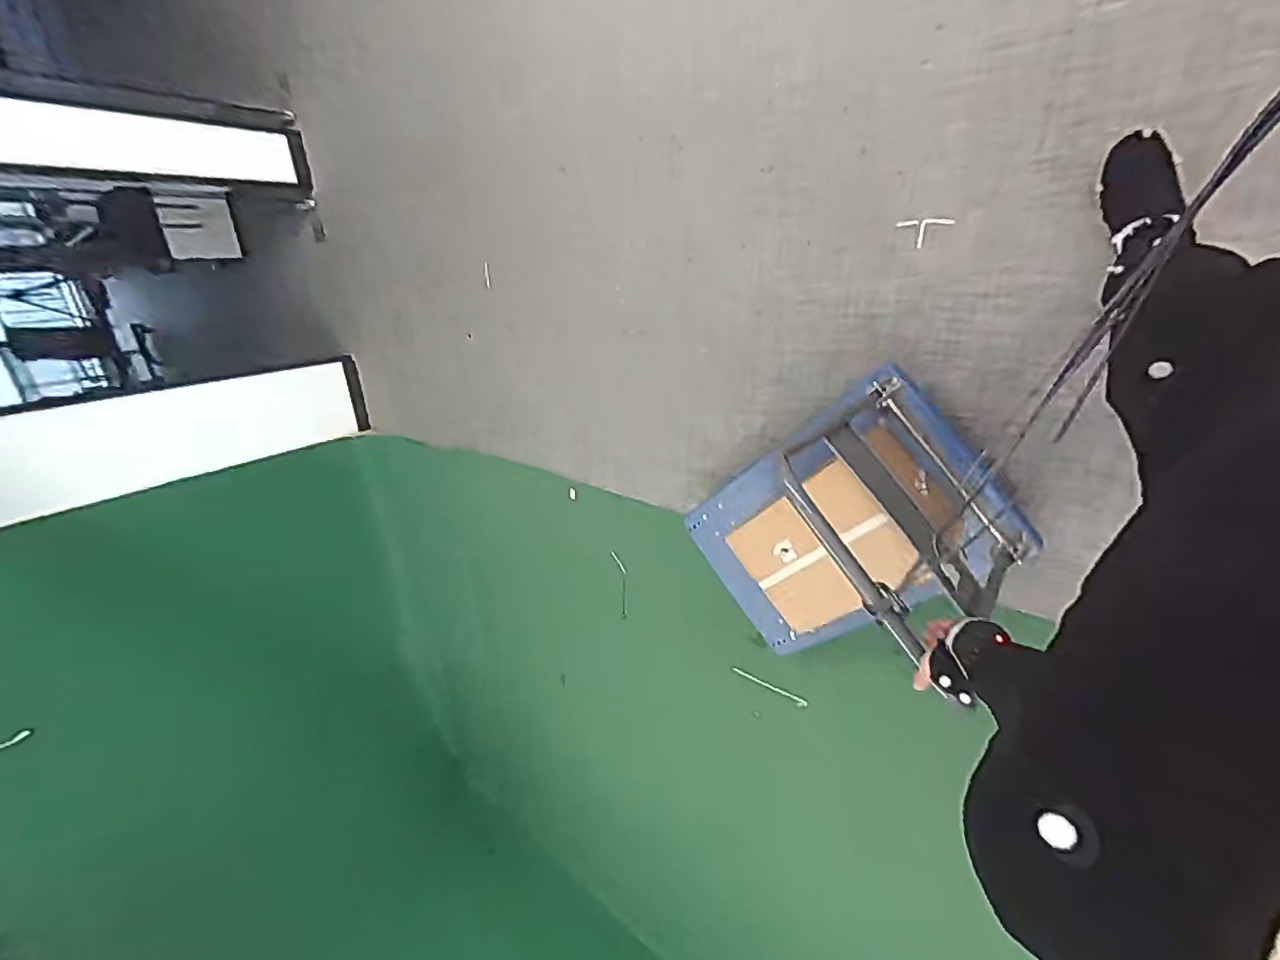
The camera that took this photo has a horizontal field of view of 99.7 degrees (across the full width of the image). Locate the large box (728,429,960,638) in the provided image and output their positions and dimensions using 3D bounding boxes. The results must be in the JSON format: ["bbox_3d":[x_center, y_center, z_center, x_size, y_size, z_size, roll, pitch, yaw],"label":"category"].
[{"bbox_3d":[0.512,0.134,1.378,0.320,0.320,0.408,54,133,9],"label":"large box"}]
